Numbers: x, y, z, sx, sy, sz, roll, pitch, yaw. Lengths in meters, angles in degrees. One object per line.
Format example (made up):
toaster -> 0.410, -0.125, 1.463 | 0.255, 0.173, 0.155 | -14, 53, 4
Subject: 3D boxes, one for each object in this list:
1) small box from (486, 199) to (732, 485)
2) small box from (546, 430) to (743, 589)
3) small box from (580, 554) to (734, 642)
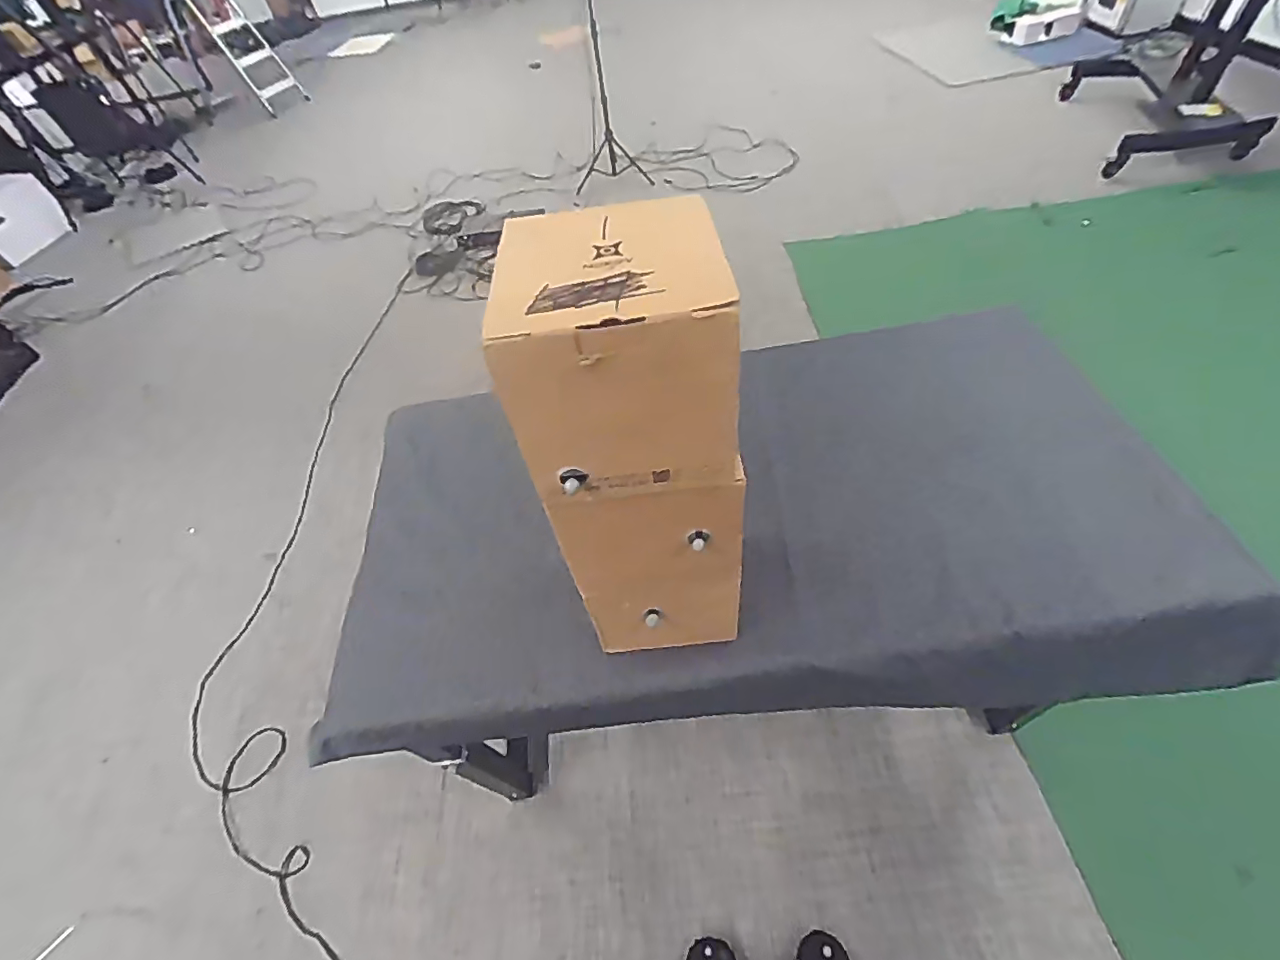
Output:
small box -> -0.015, -0.109, 0.460 | 0.168, 0.176, 0.179 | -6, 48, 2
small box -> 0.008, 0.000, 0.581 | 0.179, 0.176, 0.168 | -8, 49, 3
small box -> 0.026, 0.100, 0.708 | 0.179, 0.176, 0.168 | -7, 50, 3
